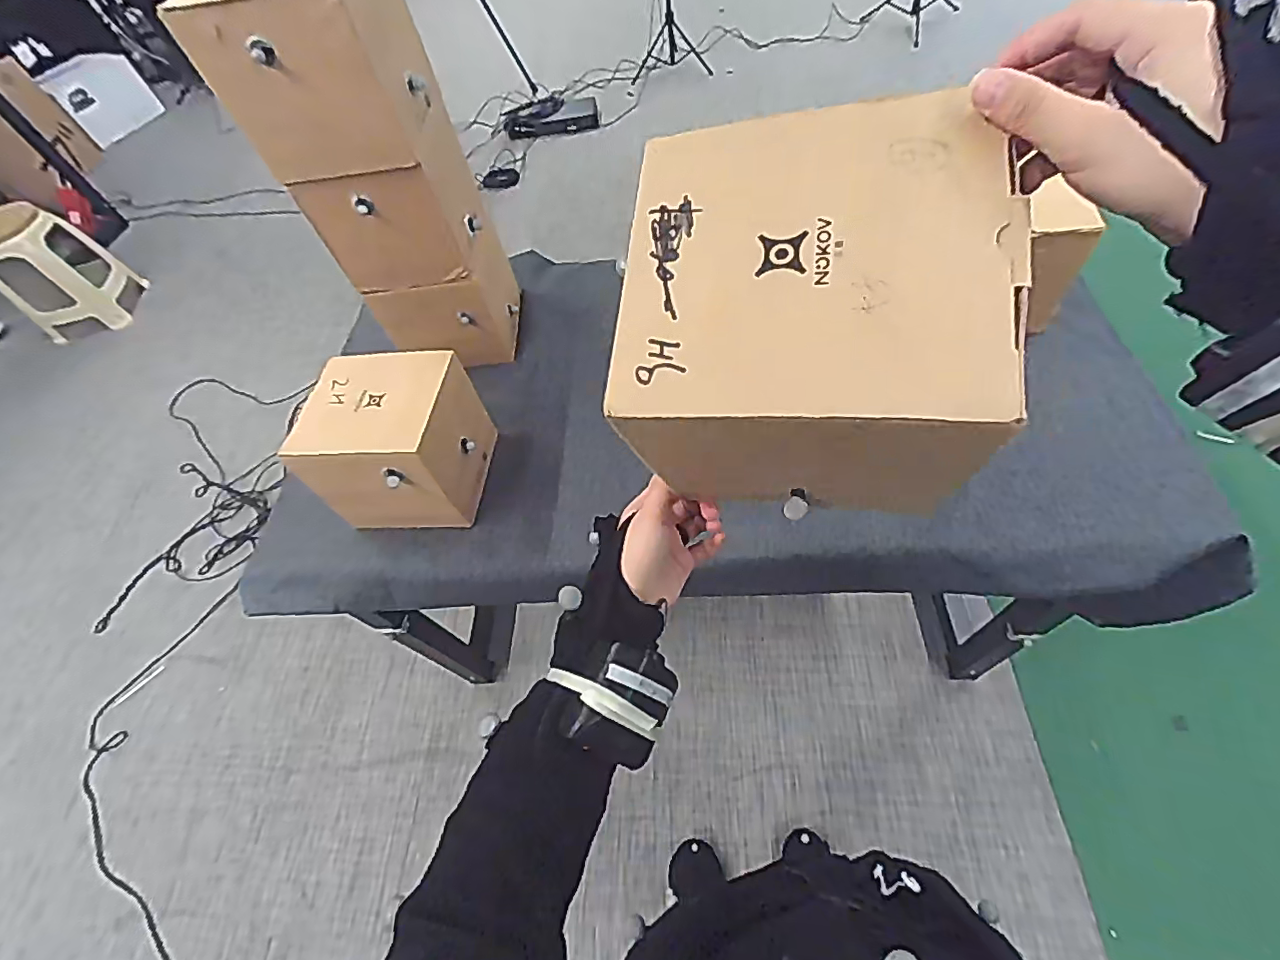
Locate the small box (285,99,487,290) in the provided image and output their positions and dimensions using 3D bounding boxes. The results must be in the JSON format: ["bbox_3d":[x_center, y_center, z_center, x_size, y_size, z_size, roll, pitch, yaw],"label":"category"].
[{"bbox_3d":[-0.331,-0.383,0.743,0.179,0.176,0.168,-5,59,4],"label":"small box"}]

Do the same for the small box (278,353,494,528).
[{"bbox_3d":[-0.313,-0.047,0.714,0.179,0.176,0.168,-1,55,8],"label":"small box"}]

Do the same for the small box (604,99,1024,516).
[{"bbox_3d":[0.098,-0.078,0.325,0.179,0.176,0.168,4,75,18],"label":"small box"}]

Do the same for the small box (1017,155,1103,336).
[{"bbox_3d":[0.488,-0.324,0.766,0.168,0.176,0.179,-1,59,9],"label":"small box"}]

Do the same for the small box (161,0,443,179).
[{"bbox_3d":[-0.348,-0.461,0.599,0.179,0.176,0.168,-4,59,5],"label":"small box"}]
